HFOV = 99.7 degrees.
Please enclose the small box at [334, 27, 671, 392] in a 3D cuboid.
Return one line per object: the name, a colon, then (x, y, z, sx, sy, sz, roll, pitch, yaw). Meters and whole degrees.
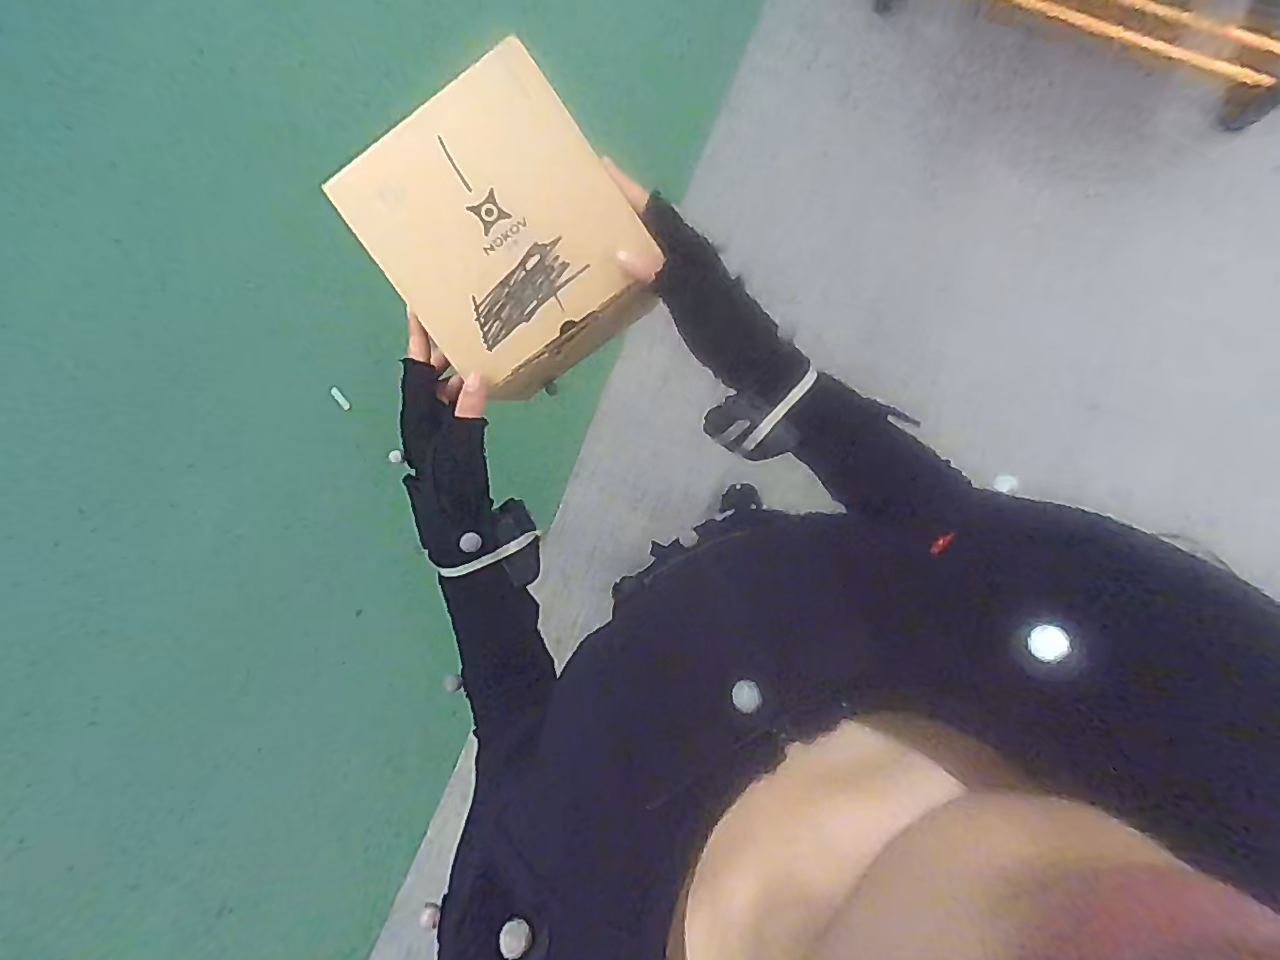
small box: (-0.089, -0.188, 0.440, 0.168, 0.176, 0.179, -34, 95, 5)
